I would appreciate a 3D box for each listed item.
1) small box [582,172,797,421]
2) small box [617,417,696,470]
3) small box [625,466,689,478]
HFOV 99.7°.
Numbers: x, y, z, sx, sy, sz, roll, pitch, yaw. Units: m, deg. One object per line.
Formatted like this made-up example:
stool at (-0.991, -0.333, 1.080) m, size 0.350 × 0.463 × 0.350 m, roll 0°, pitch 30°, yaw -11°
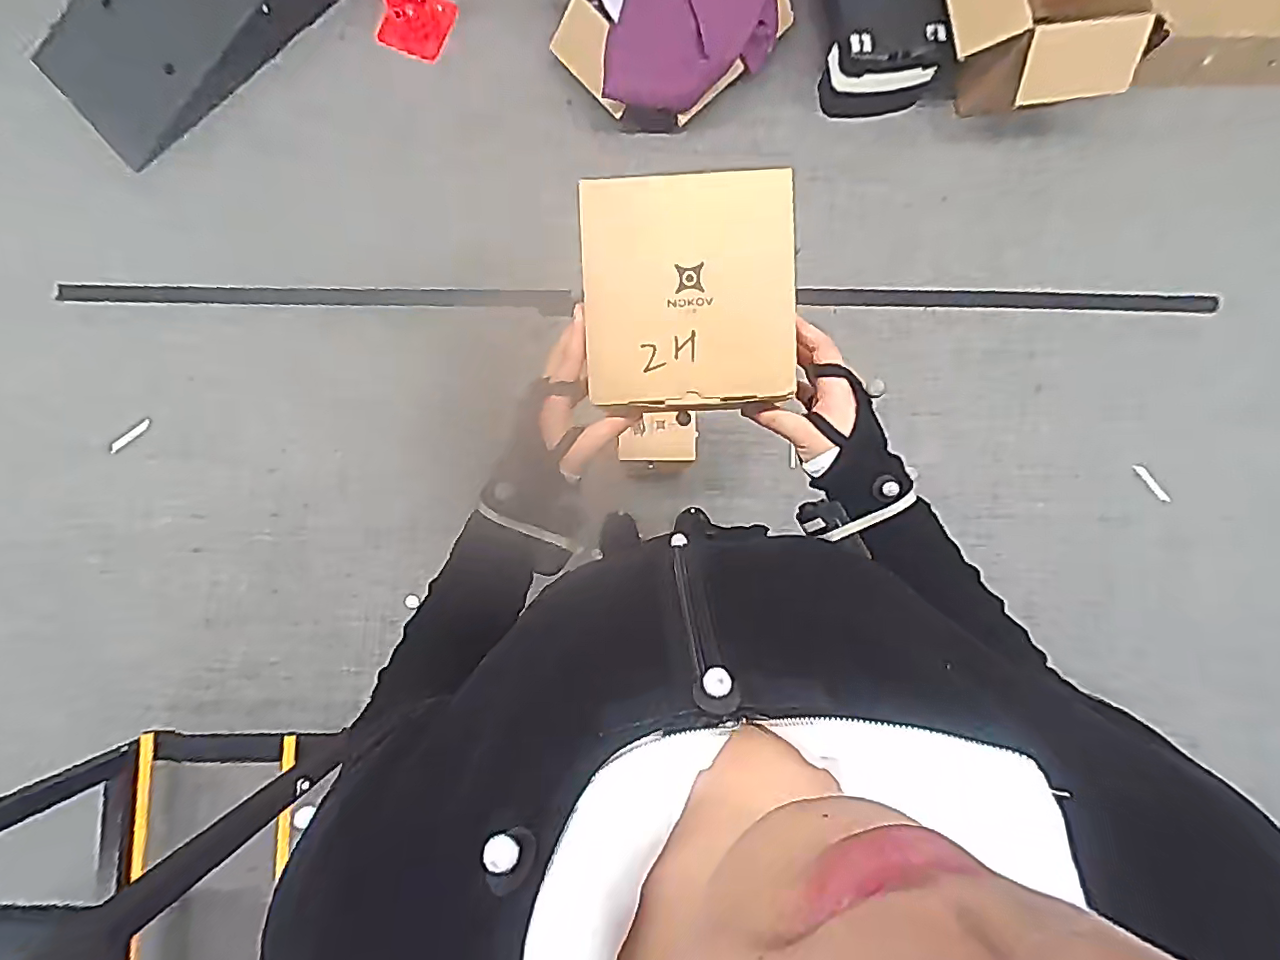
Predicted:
small box at (0.040, -0.149, 0.495) m, size 0.168 × 0.176 × 0.179 m, roll -2°, pitch 94°, yaw 3°
small box at (0.039, -0.112, 1.285) m, size 0.179 × 0.176 × 0.168 m, roll 0°, pitch 86°, yaw 0°
small box at (0.040, -0.100, 1.449) m, size 0.168 × 0.176 × 0.179 m, roll -4°, pitch 87°, yaw 1°
